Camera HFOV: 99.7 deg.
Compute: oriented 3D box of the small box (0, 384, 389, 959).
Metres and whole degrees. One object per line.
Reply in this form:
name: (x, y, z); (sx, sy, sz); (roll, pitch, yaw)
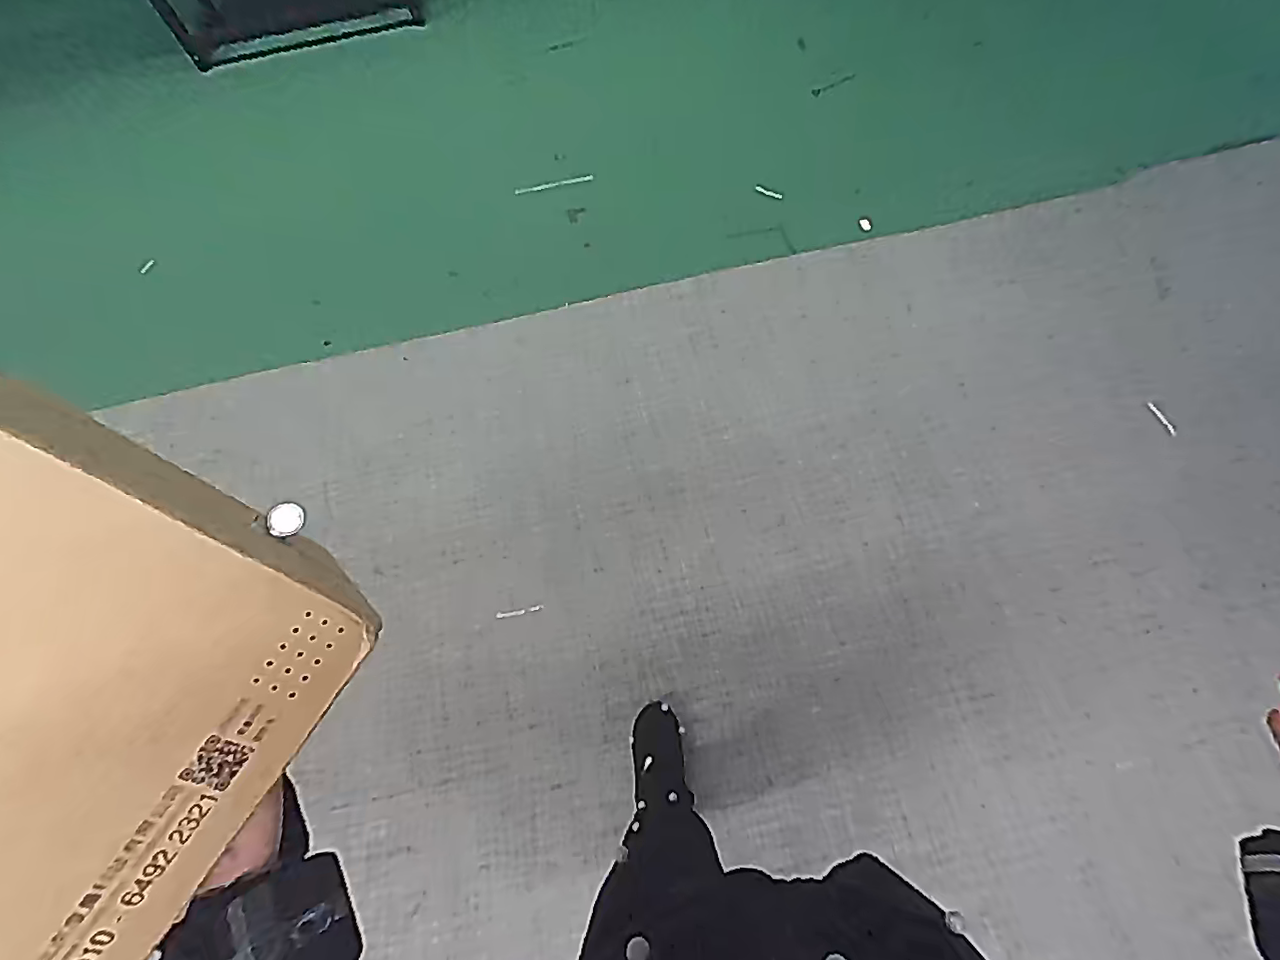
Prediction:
small box: (-0.234, 0.075, 0.213); (0.179, 0.176, 0.168); (5, 59, 53)
